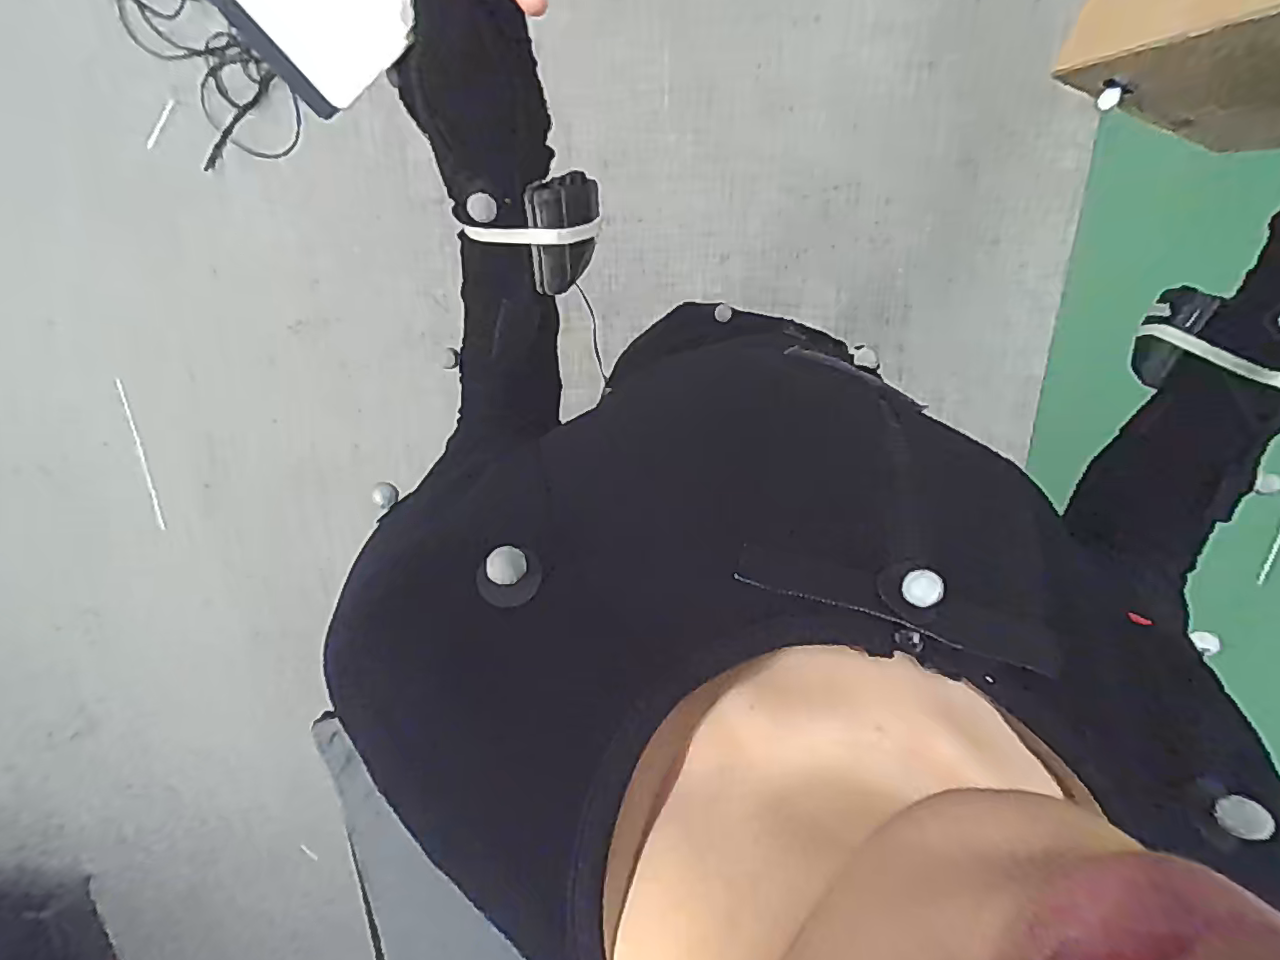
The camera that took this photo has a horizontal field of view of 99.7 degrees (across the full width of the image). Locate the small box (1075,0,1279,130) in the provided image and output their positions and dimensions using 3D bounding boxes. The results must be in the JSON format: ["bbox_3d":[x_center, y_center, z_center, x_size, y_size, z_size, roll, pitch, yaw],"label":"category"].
[{"bbox_3d":[0.390,-0.313,0.285,0.168,0.176,0.179,12,114,-11],"label":"small box"}]
